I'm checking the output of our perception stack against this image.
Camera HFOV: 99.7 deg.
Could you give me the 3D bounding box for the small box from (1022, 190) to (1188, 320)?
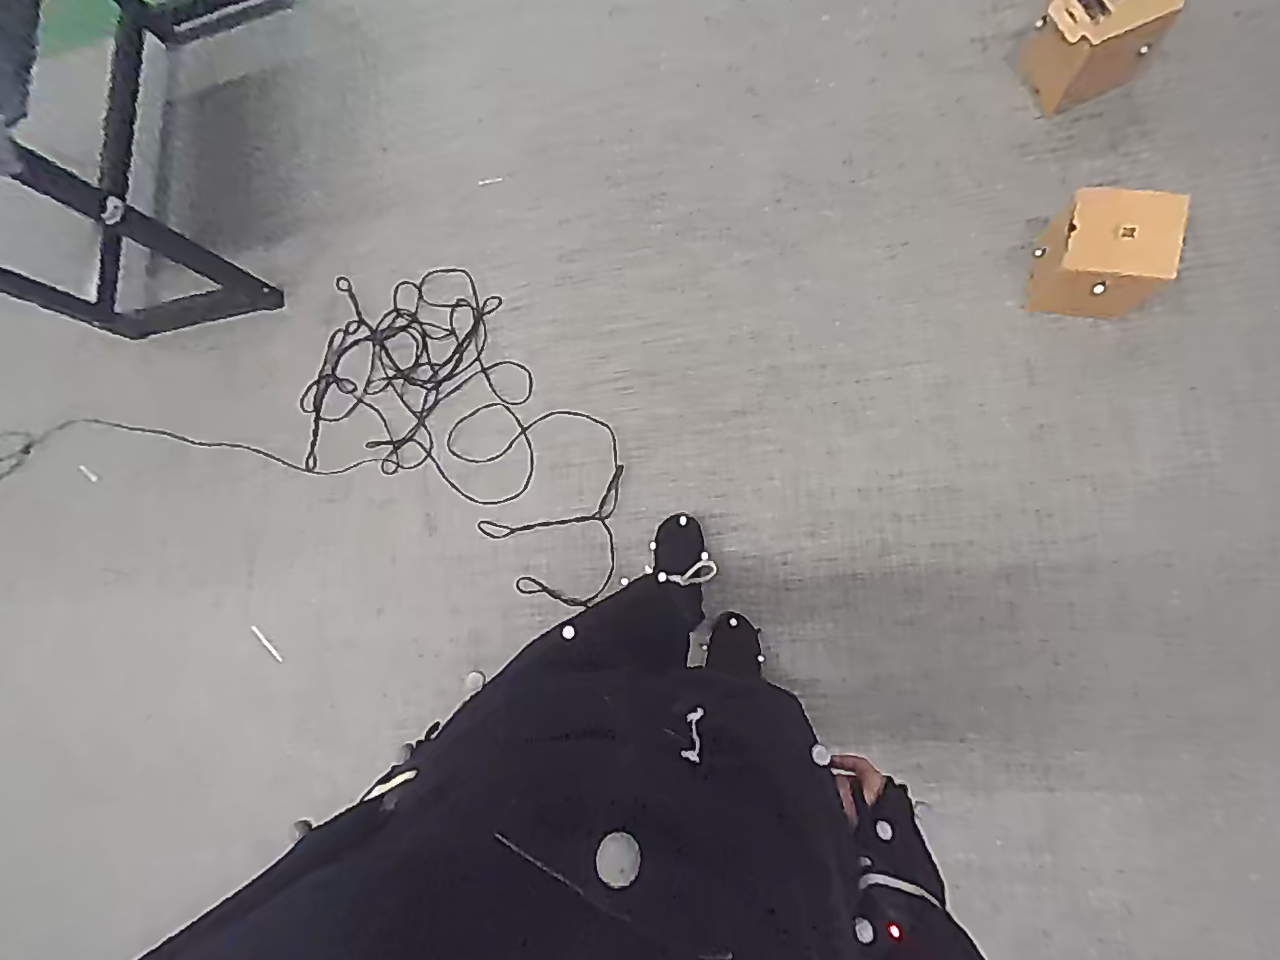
[{"bbox_3d":[0.888,-0.427,1.049,0.179,0.176,0.168,13,84,15],"label":"small box"}]
